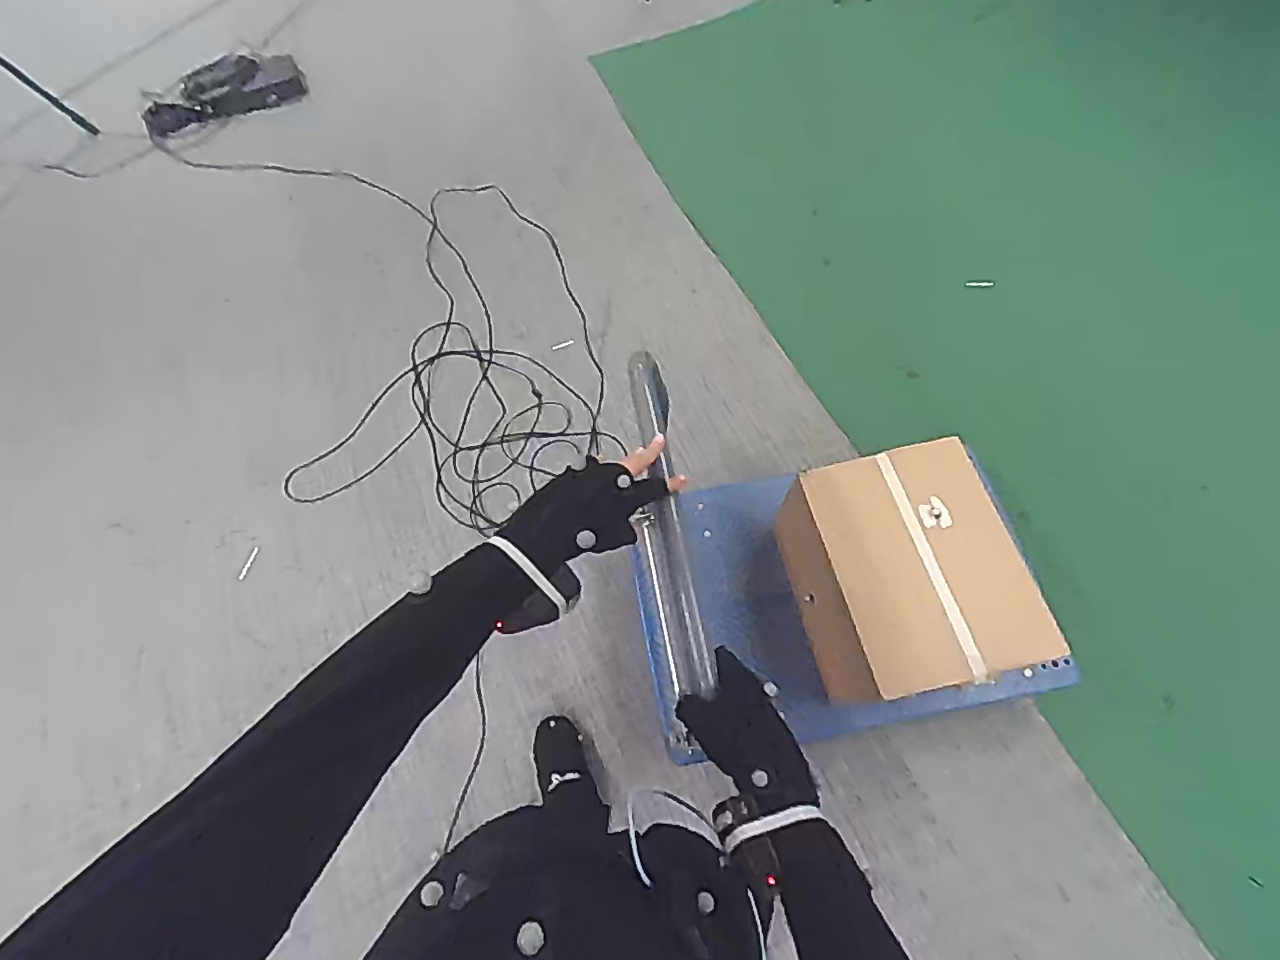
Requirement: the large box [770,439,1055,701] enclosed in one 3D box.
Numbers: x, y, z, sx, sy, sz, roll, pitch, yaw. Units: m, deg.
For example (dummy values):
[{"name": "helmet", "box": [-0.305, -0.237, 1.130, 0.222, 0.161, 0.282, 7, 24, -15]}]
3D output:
[{"name": "large box", "box": [0.484, 0.190, 1.072, 0.320, 0.320, 0.408, -12, 66, -3]}]
